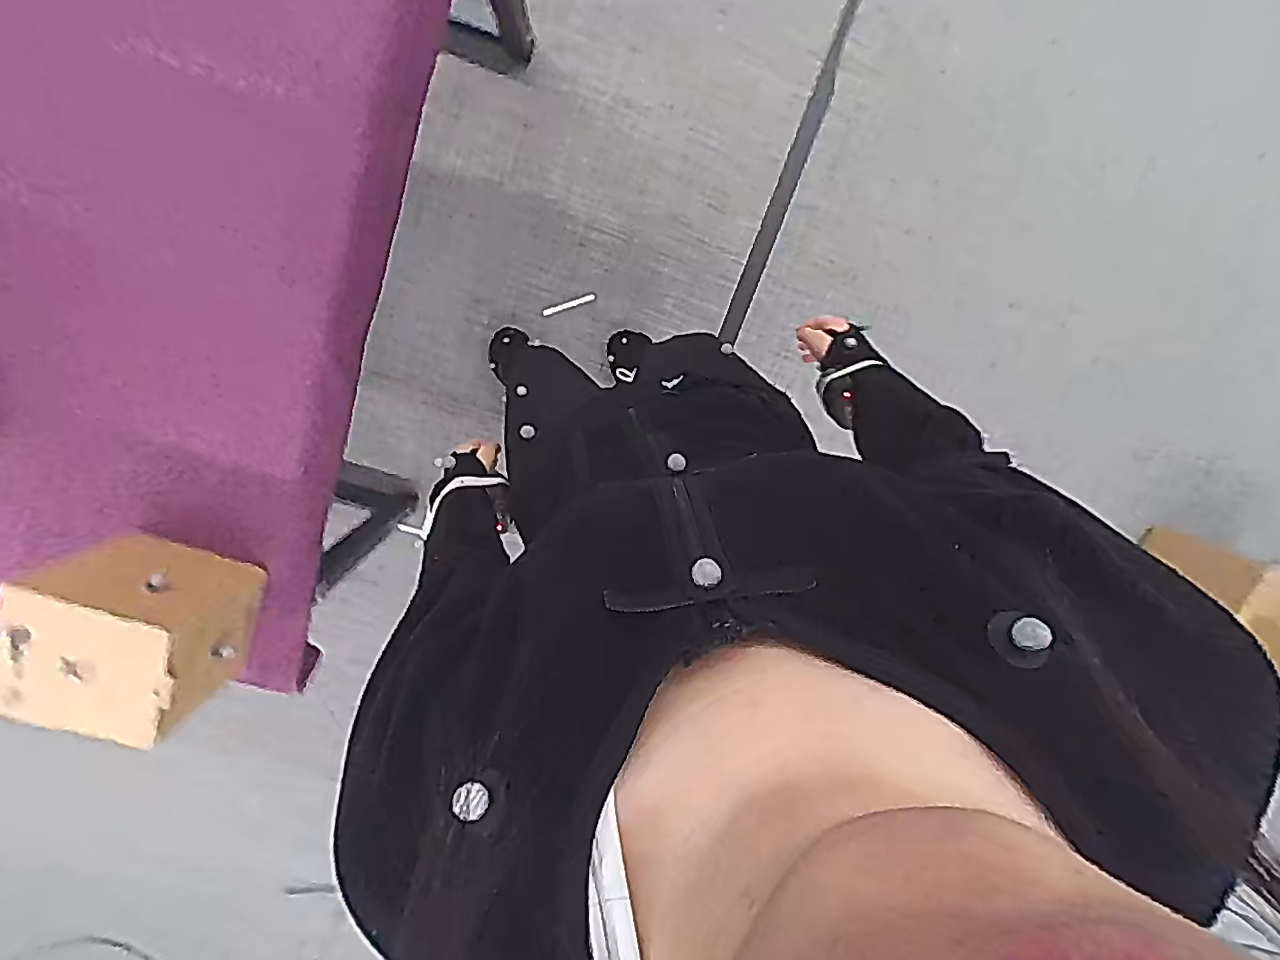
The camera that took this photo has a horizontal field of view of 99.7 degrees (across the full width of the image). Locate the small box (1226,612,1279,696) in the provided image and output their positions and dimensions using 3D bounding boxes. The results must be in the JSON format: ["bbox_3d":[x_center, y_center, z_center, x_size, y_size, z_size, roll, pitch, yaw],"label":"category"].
[{"bbox_3d":[1.630,0.452,1.331,0.168,0.176,0.179,17,104,-7],"label":"small box"}]

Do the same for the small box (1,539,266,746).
[{"bbox_3d":[-0.617,0.192,0.681,0.179,0.176,0.168,19,102,-8],"label":"small box"}]
